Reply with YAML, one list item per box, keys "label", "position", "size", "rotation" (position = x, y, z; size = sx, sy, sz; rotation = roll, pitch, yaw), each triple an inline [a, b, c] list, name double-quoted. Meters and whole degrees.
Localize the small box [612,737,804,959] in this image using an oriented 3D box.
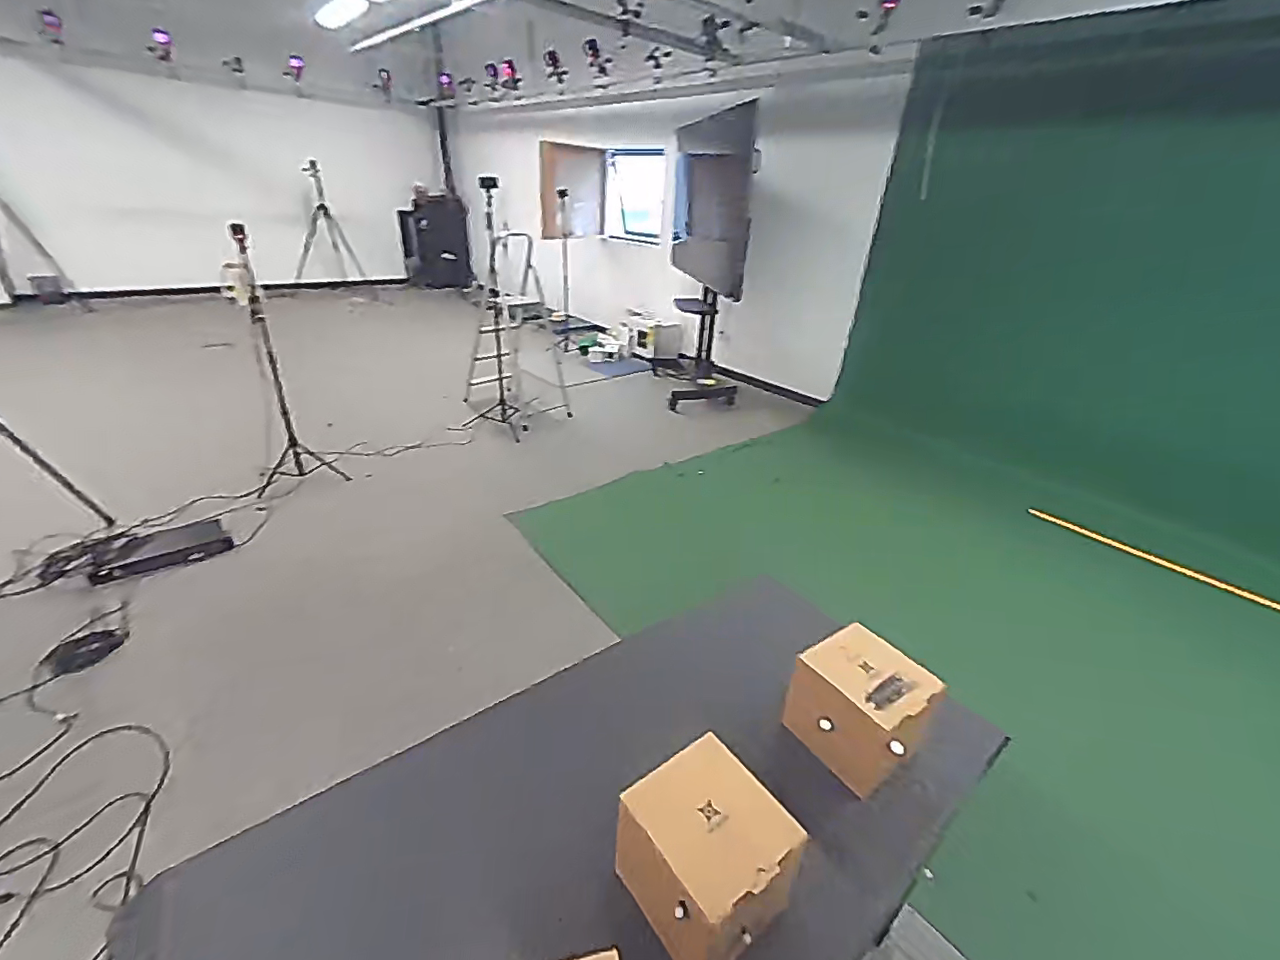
- label: "small box"
  position: [0.077, 0.488, 0.702]
  size: [0.168, 0.176, 0.179]
  rotation: [-16, 35, -36]
